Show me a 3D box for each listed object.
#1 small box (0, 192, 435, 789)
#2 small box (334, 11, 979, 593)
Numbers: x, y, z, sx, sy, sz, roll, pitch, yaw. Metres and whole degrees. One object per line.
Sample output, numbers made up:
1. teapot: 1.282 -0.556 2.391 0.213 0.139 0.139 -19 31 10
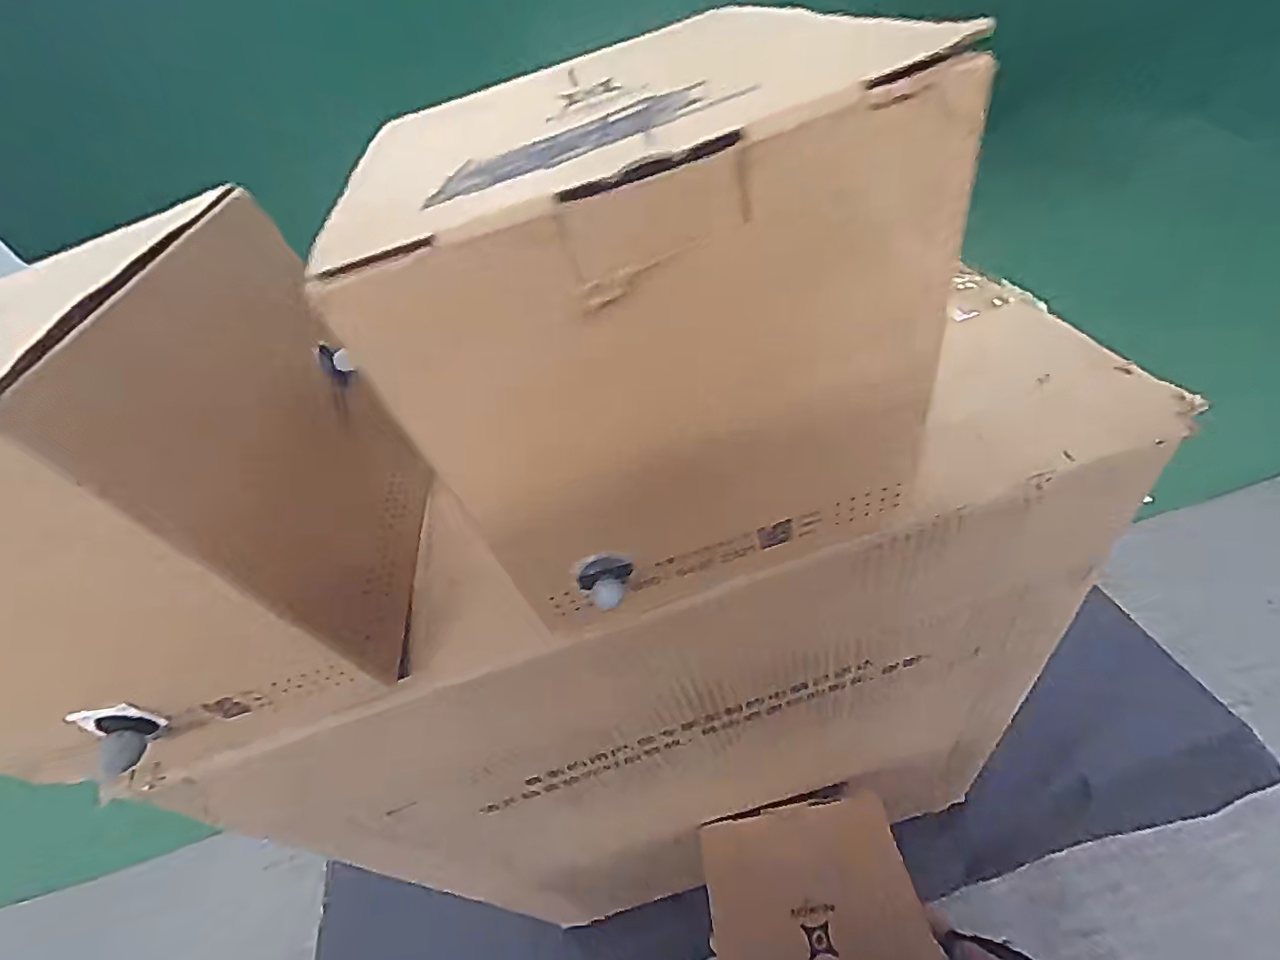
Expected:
1. small box: -0.212 0.007 0.245 0.168 0.176 0.179 -21 45 3
2. small box: 0.005 -0.072 0.241 0.168 0.176 0.179 -19 43 0
